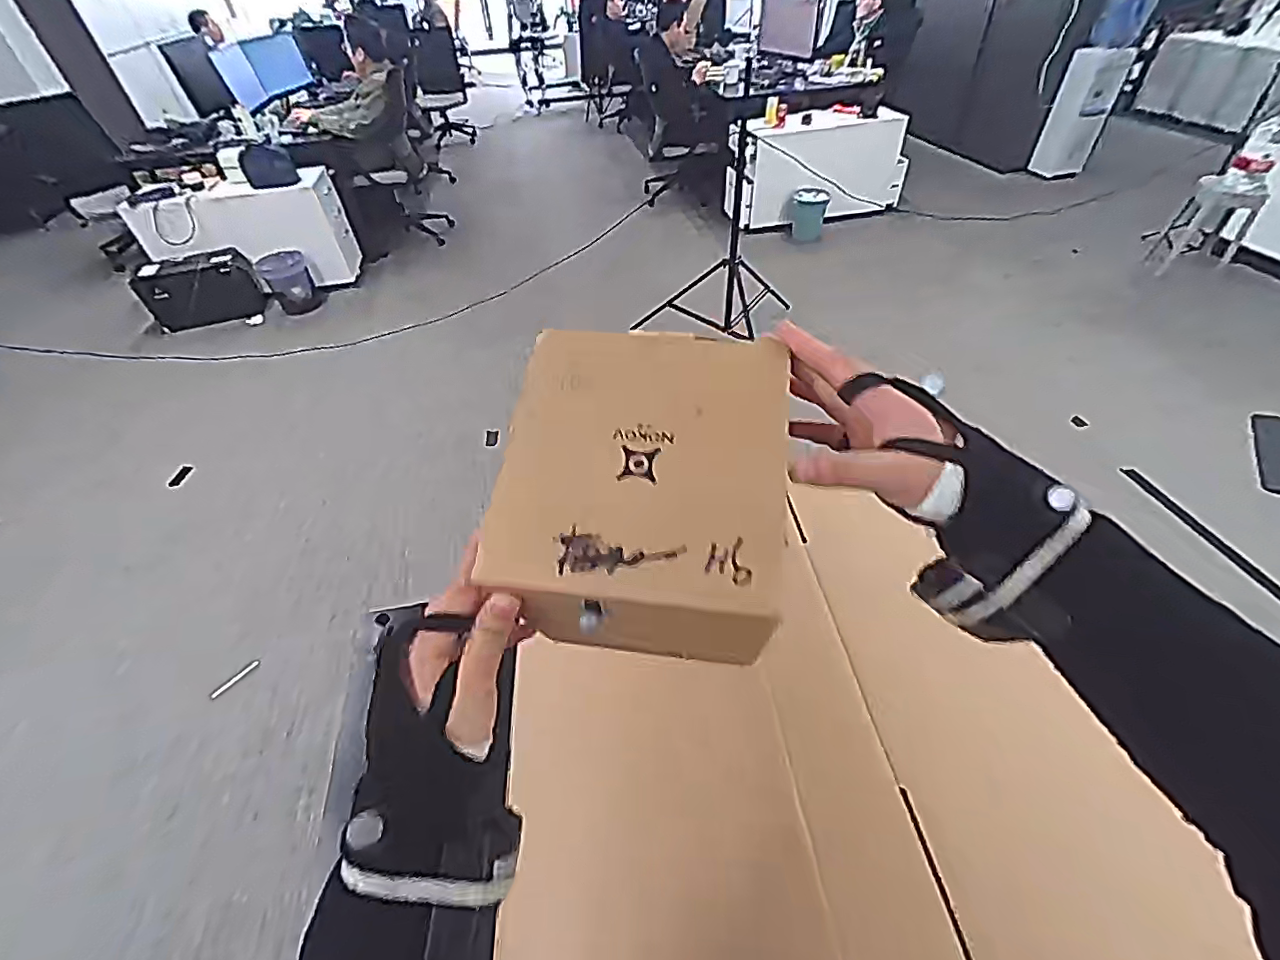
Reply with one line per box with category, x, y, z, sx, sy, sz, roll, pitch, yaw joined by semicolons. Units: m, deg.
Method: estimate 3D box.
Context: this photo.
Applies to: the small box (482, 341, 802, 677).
small box;0.014;0.028;0.382;0.168;0.176;0.179;5;63;9
